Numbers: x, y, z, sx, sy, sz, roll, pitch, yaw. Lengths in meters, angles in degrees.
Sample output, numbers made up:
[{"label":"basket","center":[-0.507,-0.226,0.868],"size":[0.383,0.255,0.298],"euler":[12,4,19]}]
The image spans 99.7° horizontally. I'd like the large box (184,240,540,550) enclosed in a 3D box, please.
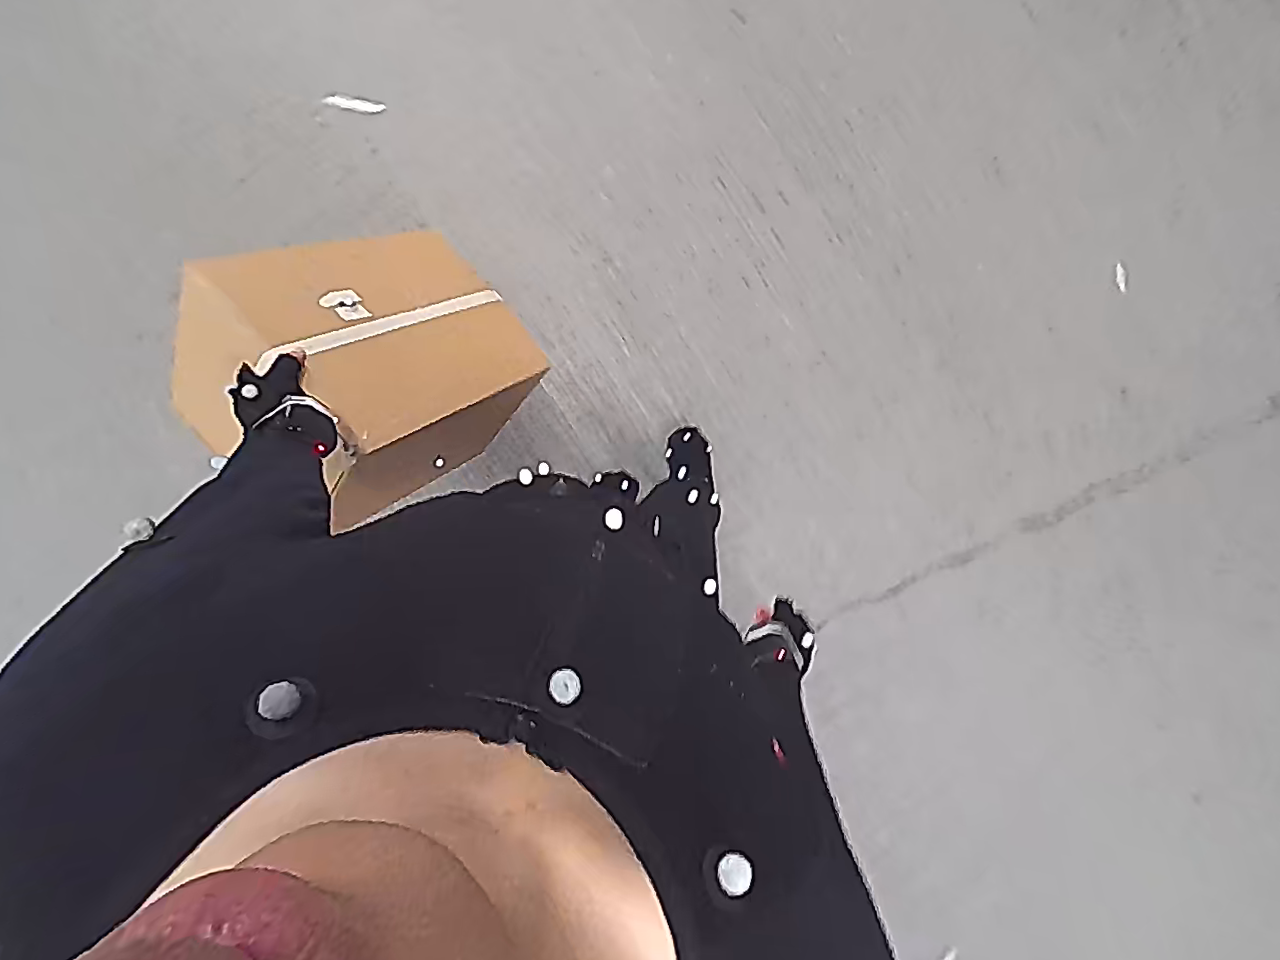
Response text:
[{"label":"large box","center":[-0.455,-0.152,0.920],"size":[0.320,0.408,0.320],"euler":[49,132,-2]}]
